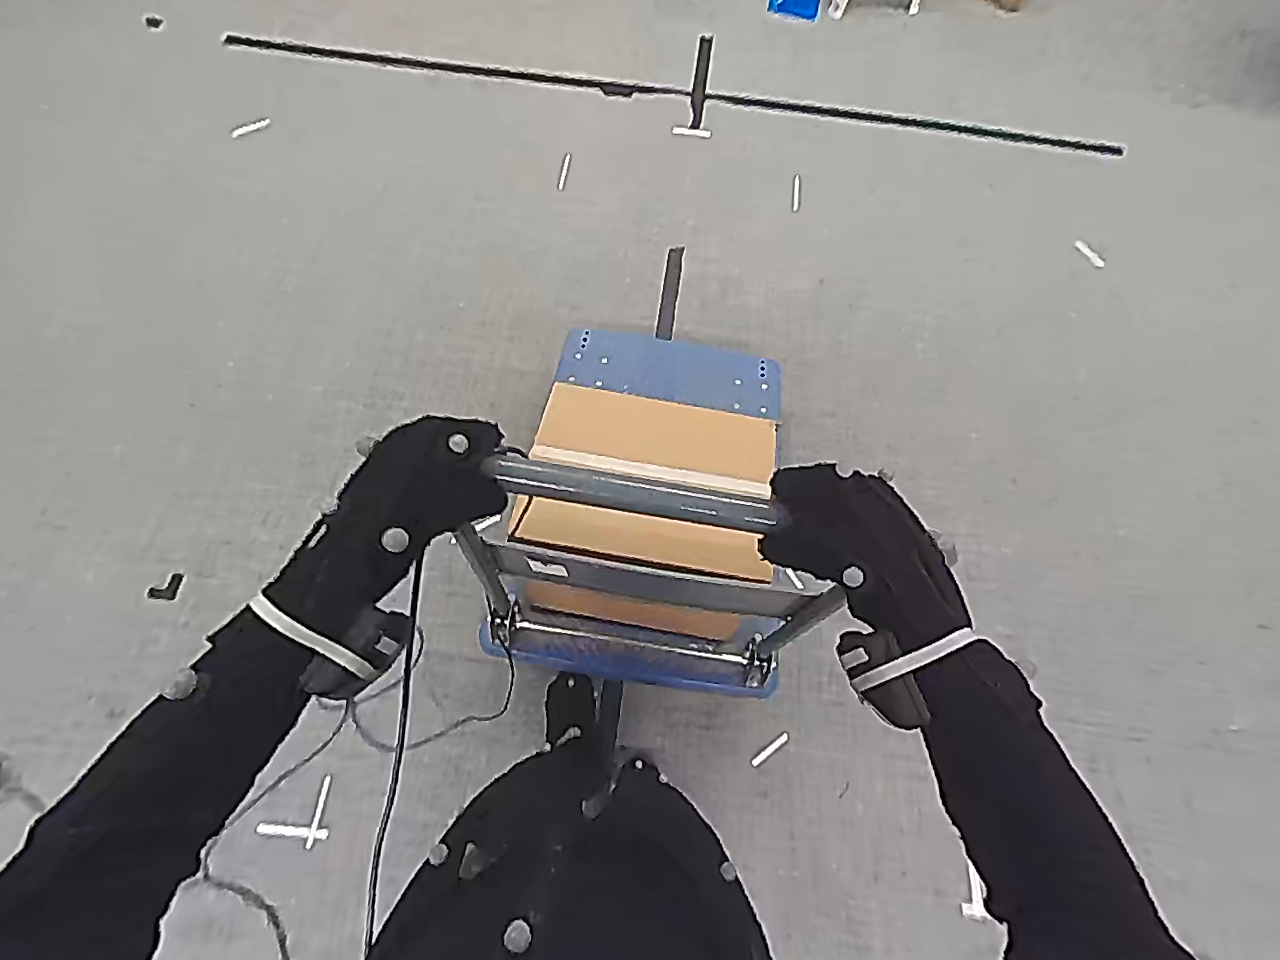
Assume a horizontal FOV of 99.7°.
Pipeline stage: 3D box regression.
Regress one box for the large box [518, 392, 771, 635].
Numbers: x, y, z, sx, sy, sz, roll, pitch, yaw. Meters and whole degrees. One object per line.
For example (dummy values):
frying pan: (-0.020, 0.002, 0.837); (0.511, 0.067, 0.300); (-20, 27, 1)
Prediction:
large box: (0.008, 0.075, 1.035); (0.408, 0.320, 0.320); (11, 58, 0)
